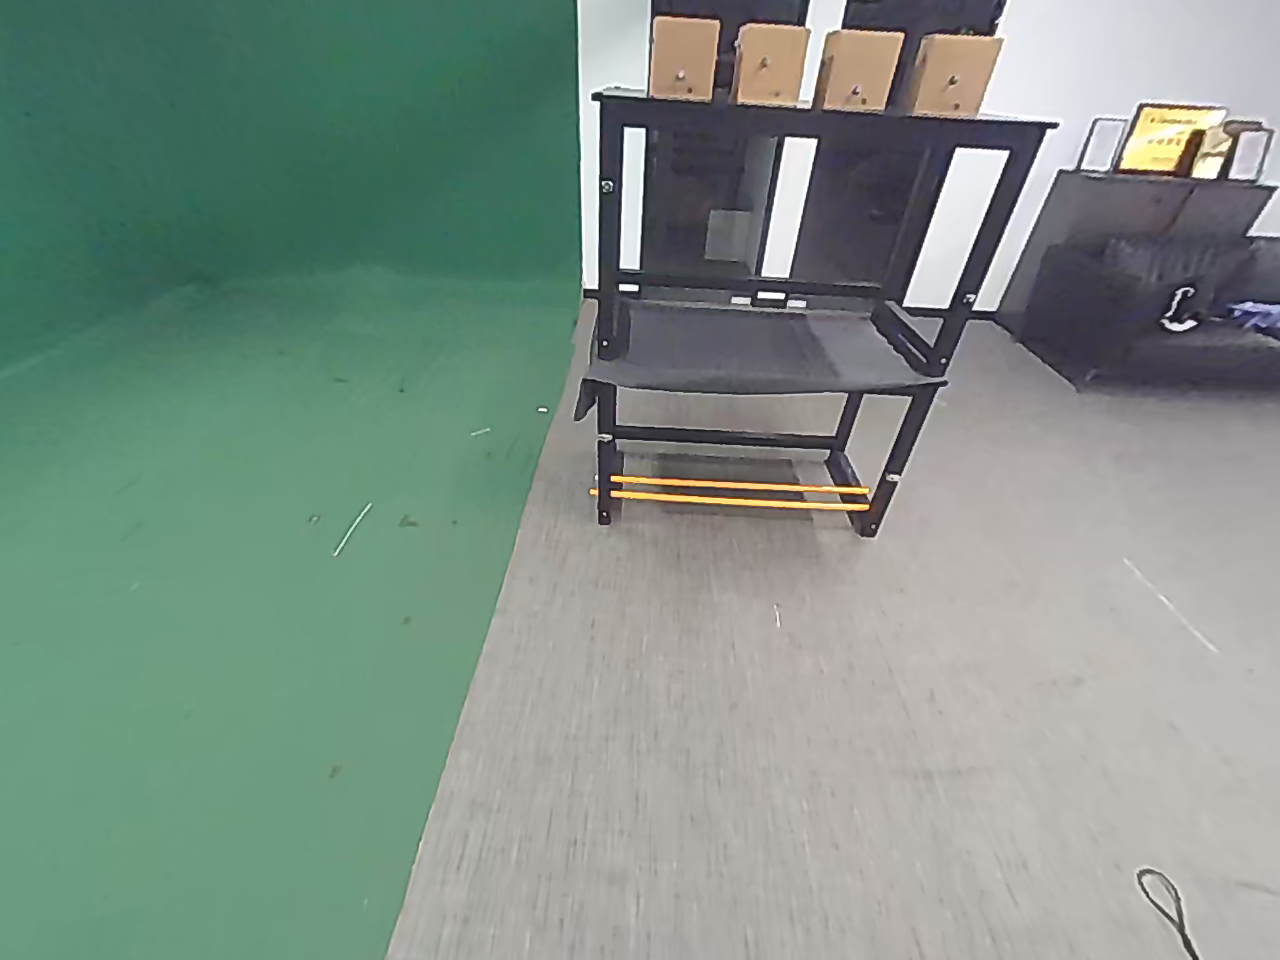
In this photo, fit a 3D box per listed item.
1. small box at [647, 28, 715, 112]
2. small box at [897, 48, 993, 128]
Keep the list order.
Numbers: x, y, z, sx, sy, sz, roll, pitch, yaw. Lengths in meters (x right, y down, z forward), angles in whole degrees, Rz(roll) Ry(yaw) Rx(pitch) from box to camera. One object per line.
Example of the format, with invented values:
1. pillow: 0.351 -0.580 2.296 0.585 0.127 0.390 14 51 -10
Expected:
1. small box: 0.108 -1.130 1.495 0.168 0.176 0.179 2 37 -2
2. small box: 0.829 -1.078 1.490 0.168 0.176 0.179 10 37 8
